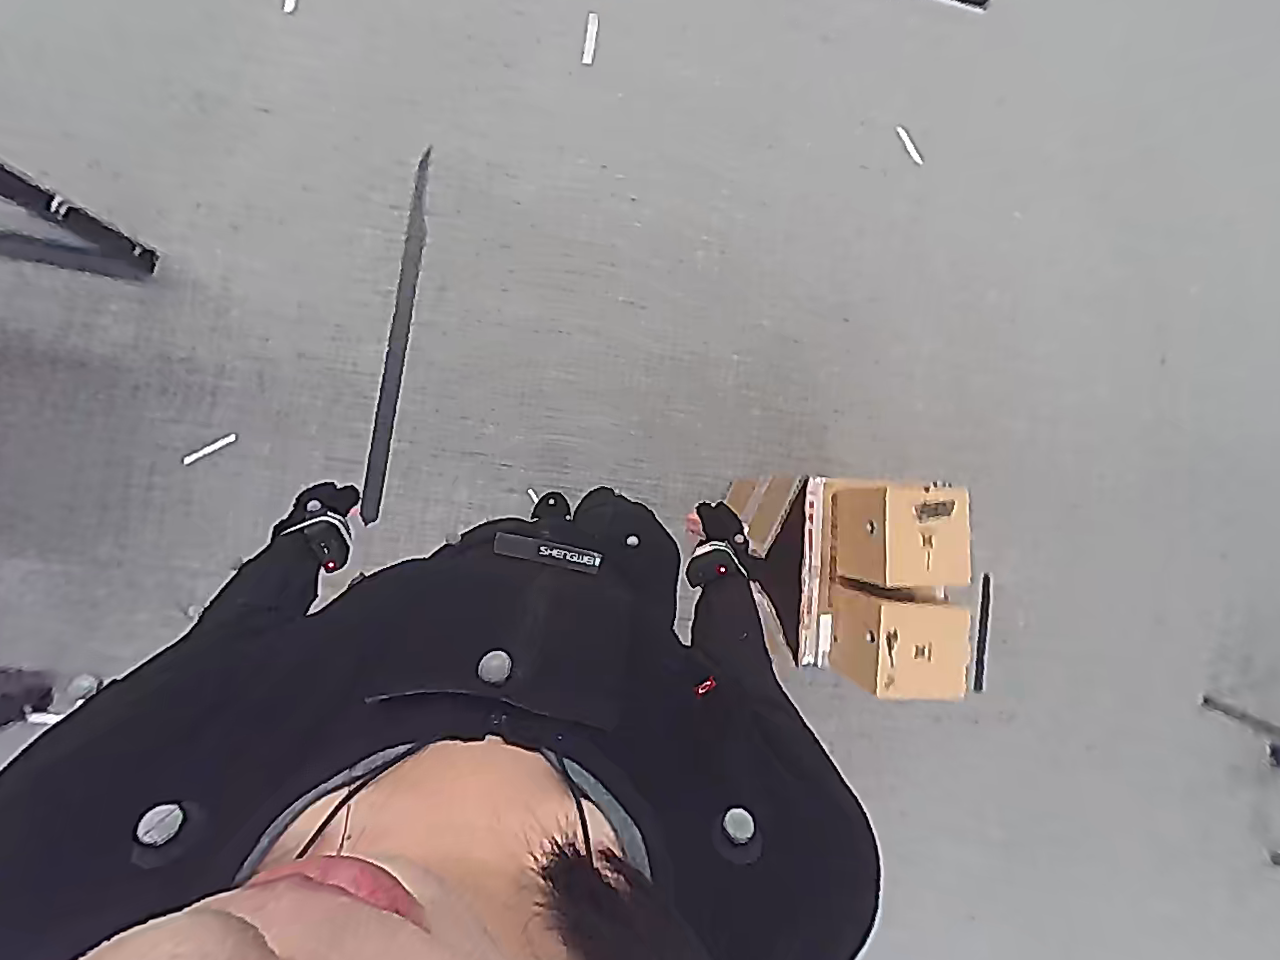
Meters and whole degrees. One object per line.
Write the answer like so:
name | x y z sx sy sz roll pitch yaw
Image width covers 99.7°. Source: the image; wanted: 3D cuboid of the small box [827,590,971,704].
small box | 0.481 0.308 1.021 0.179 0.176 0.168 5 89 -9

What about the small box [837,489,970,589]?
small box | 0.492 0.110 1.029 0.168 0.176 0.179 2 87 -9
